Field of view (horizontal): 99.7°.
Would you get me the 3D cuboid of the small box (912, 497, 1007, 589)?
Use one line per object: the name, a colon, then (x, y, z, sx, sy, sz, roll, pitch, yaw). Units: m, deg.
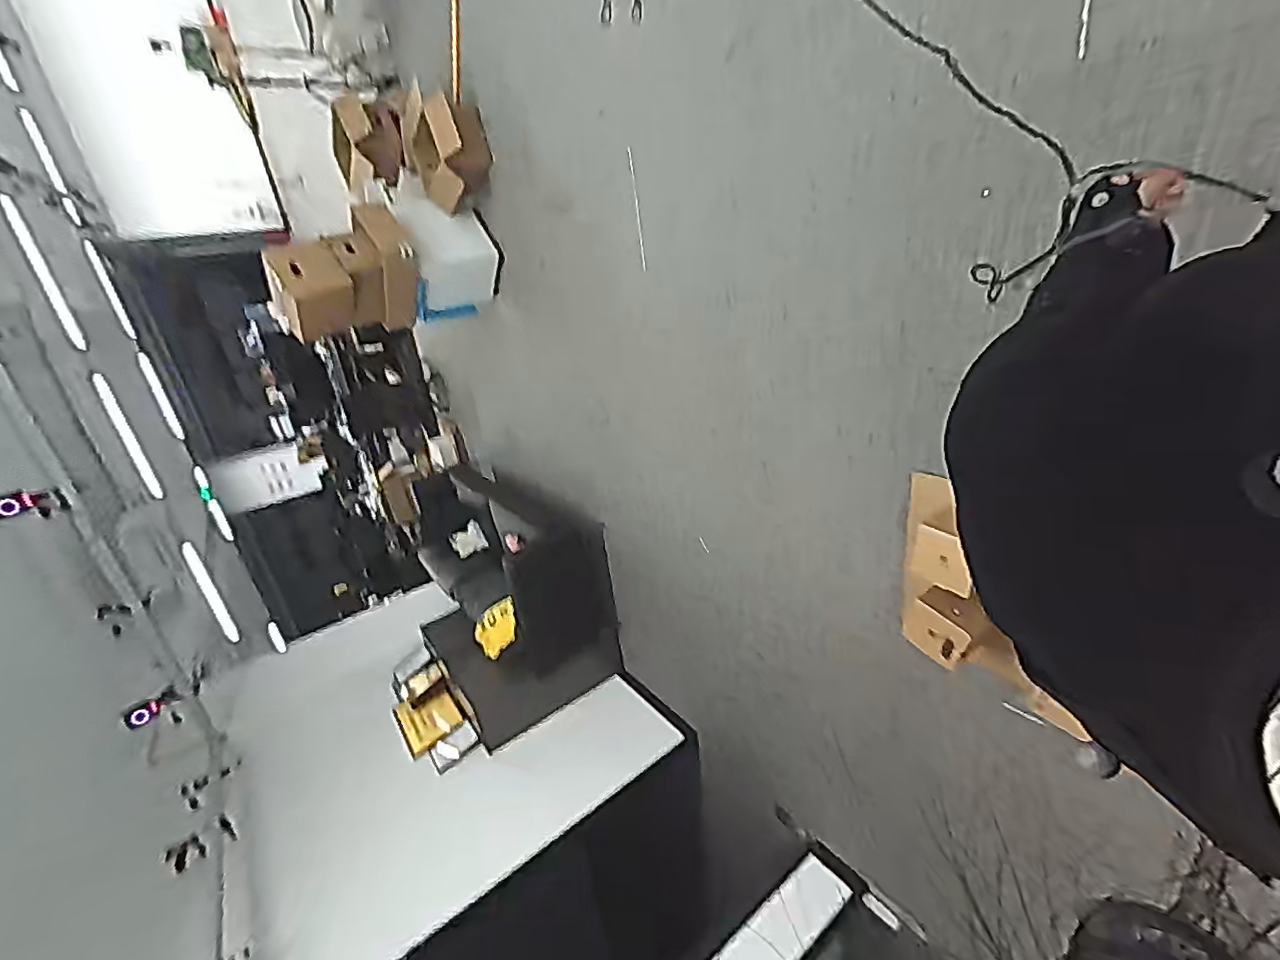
small box: (0.905, 0.169, 1.530, 0.168, 0.176, 0.179, 28, 133, 47)

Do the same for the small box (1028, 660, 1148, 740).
small box: (1.147, 0.511, 1.384, 0.179, 0.176, 0.168, 30, 134, 45)

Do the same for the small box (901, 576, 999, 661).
small box: (0.937, 0.402, 1.633, 0.179, 0.176, 0.168, 40, 141, 40)
